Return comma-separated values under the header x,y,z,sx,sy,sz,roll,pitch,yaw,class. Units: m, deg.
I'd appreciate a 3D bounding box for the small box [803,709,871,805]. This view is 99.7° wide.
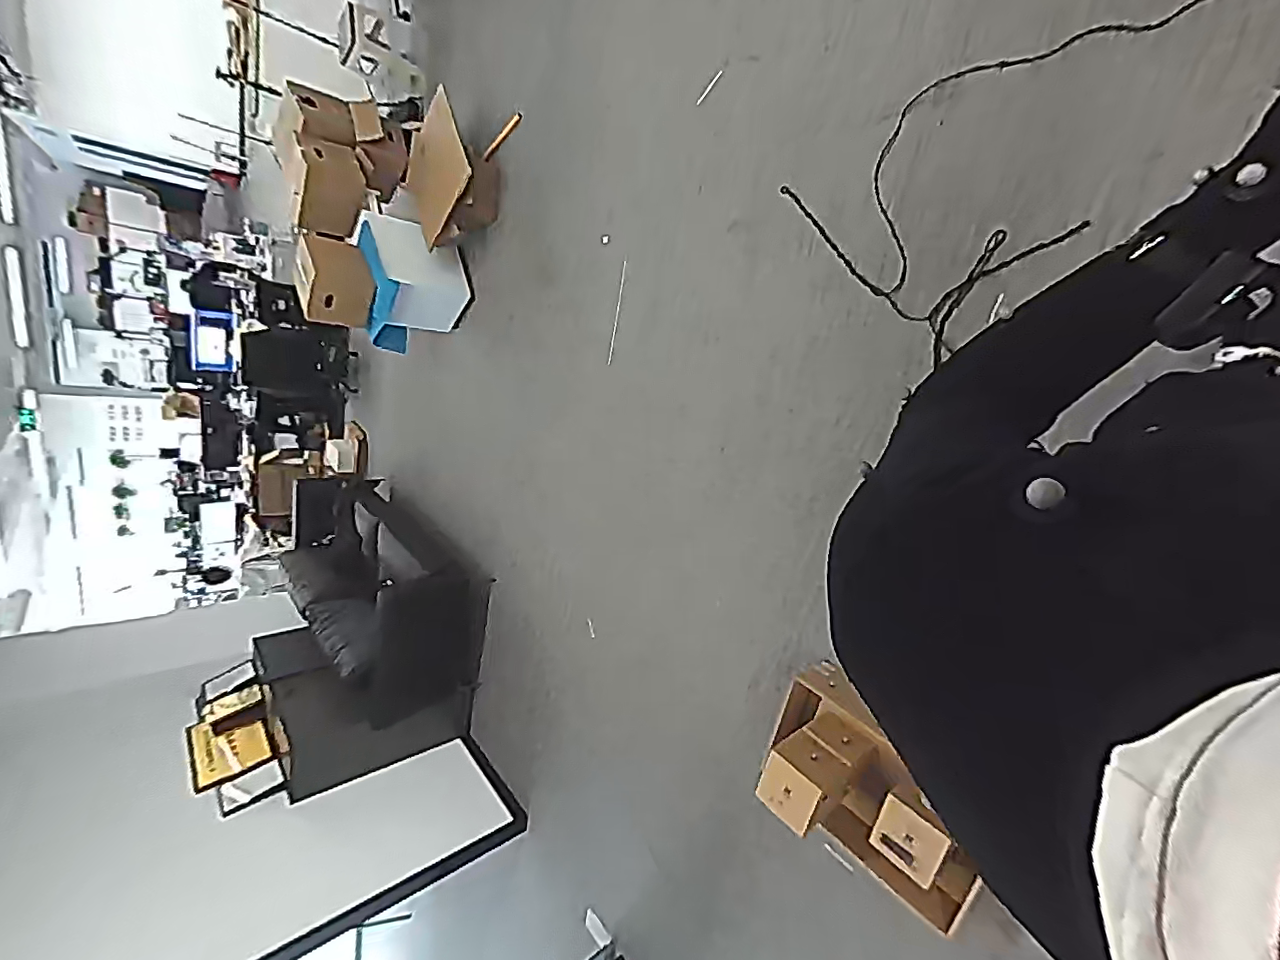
x,y,z,sx,sy,sz,roll,pitch,yaw,class
0.592,0.849,1.679,0.168,0.176,0.179,29,114,42,small box

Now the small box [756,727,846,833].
x,y,z,sx,sy,sz,roll,pitch,yaw,class
0.470,0.859,1.568,0.168,0.176,0.179,30,114,41,small box
